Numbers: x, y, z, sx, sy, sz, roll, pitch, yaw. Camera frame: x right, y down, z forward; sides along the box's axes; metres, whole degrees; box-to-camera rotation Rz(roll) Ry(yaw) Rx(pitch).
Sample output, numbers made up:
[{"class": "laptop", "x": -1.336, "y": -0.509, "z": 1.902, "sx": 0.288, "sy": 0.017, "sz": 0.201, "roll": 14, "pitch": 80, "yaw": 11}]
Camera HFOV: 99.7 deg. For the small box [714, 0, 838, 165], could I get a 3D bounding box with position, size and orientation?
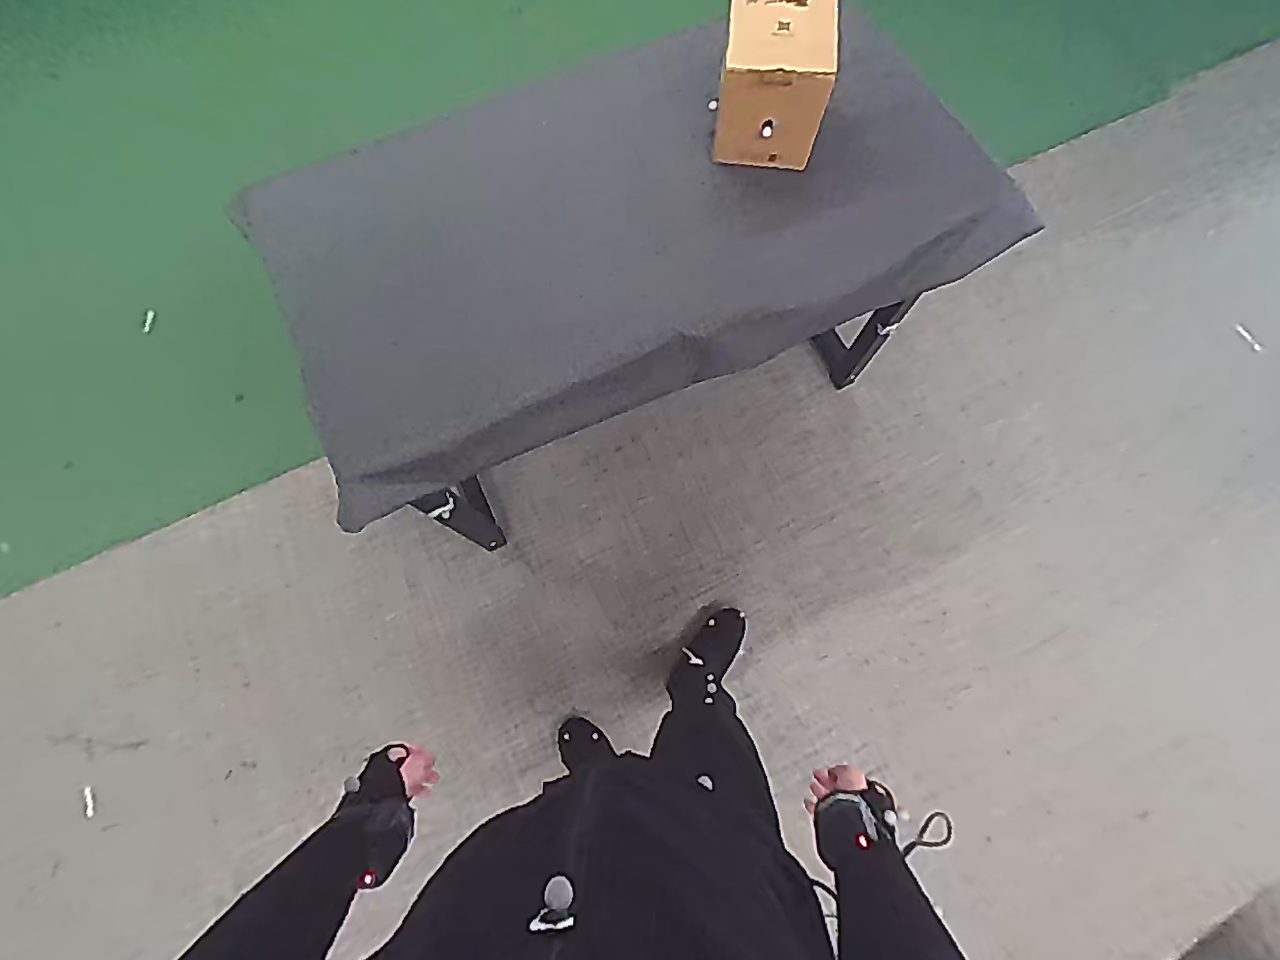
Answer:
[{"class": "small box", "x": 0.219, "y": -0.661, "z": 0.901, "sx": 0.168, "sy": 0.176, "sz": 0.179, "roll": 6, "pitch": 74, "yaw": 2}]
